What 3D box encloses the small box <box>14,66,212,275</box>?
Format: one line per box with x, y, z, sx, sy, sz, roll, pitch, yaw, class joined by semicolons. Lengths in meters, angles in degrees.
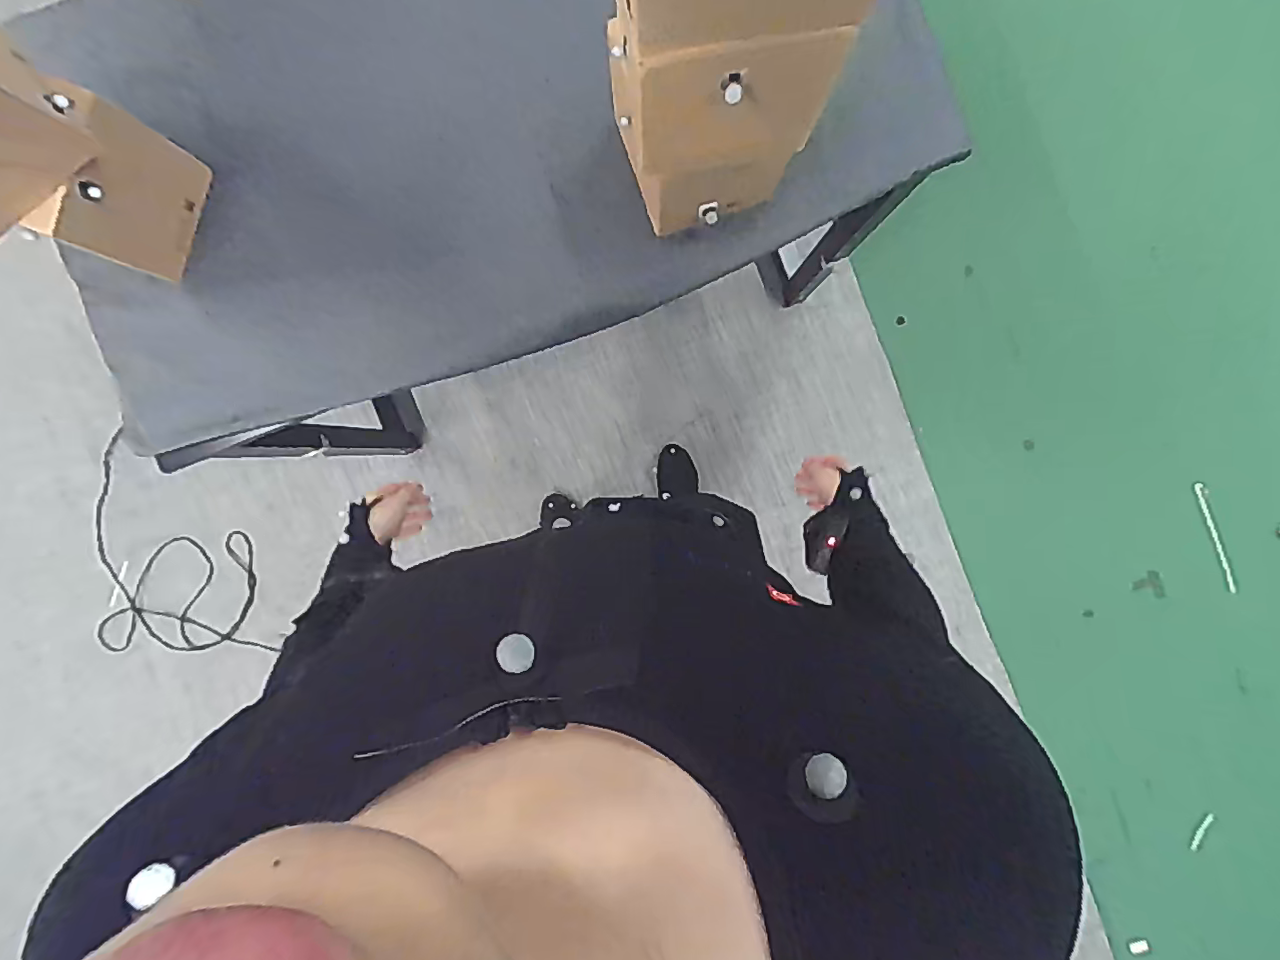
-0.691;-0.375;0.664;0.179;0.176;0.168;20;93;-1;small box

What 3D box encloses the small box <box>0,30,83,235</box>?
-0.692;-0.362;0.499;0.179;0.176;0.168;-39;93;3;small box

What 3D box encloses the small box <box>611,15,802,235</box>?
0.073;-0.432;0.647;0.168;0.176;0.179;-19;92;3;small box

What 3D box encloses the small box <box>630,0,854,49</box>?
0.071;-0.408;0.321;0.179;0.176;0.168;-7;92;3;small box

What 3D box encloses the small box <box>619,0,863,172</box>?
0.074;-0.411;0.486;0.179;0.176;0.168;-9;92;3;small box
